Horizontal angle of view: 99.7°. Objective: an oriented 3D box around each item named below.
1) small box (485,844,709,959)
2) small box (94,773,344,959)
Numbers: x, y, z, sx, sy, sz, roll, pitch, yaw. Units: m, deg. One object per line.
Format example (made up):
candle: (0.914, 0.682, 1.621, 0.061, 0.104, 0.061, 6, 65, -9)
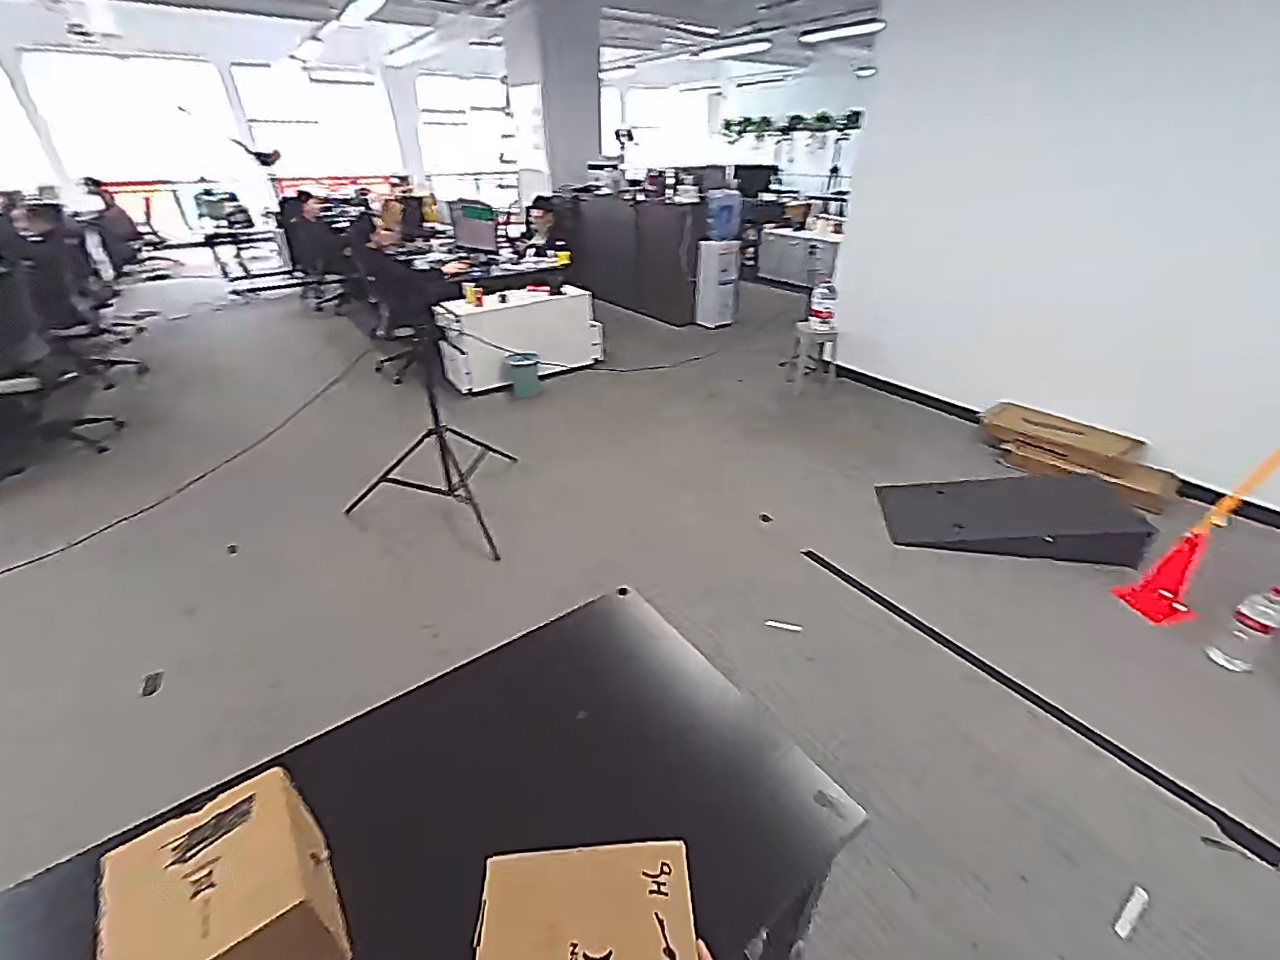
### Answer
small box: (-0.031, 0.436, 0.457, 0.179, 0.176, 0.168, -3, 38, -2)
small box: (-0.454, 0.483, 0.598, 0.168, 0.176, 0.179, -22, 38, -31)
